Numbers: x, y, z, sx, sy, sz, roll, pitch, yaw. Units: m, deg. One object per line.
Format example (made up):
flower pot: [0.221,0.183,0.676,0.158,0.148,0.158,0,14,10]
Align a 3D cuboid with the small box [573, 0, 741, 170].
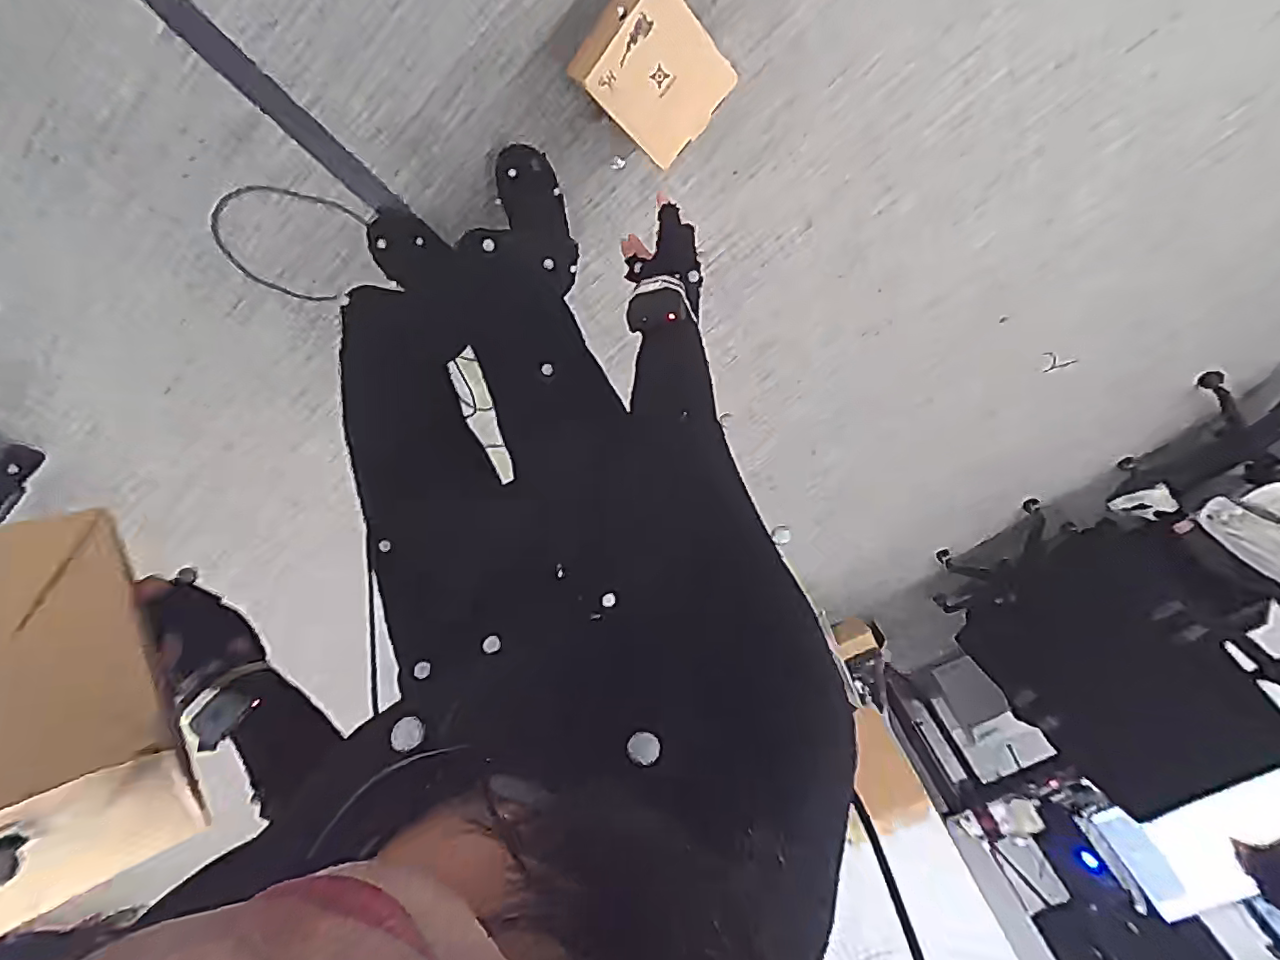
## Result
small box: [0.019,-0.629,0.834,0.179,0.176,0.168,28,119,-36]

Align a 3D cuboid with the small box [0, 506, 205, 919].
small box: [-0.389,0.141,0.316,0.168,0.179,0.176,-18,146,-39]
